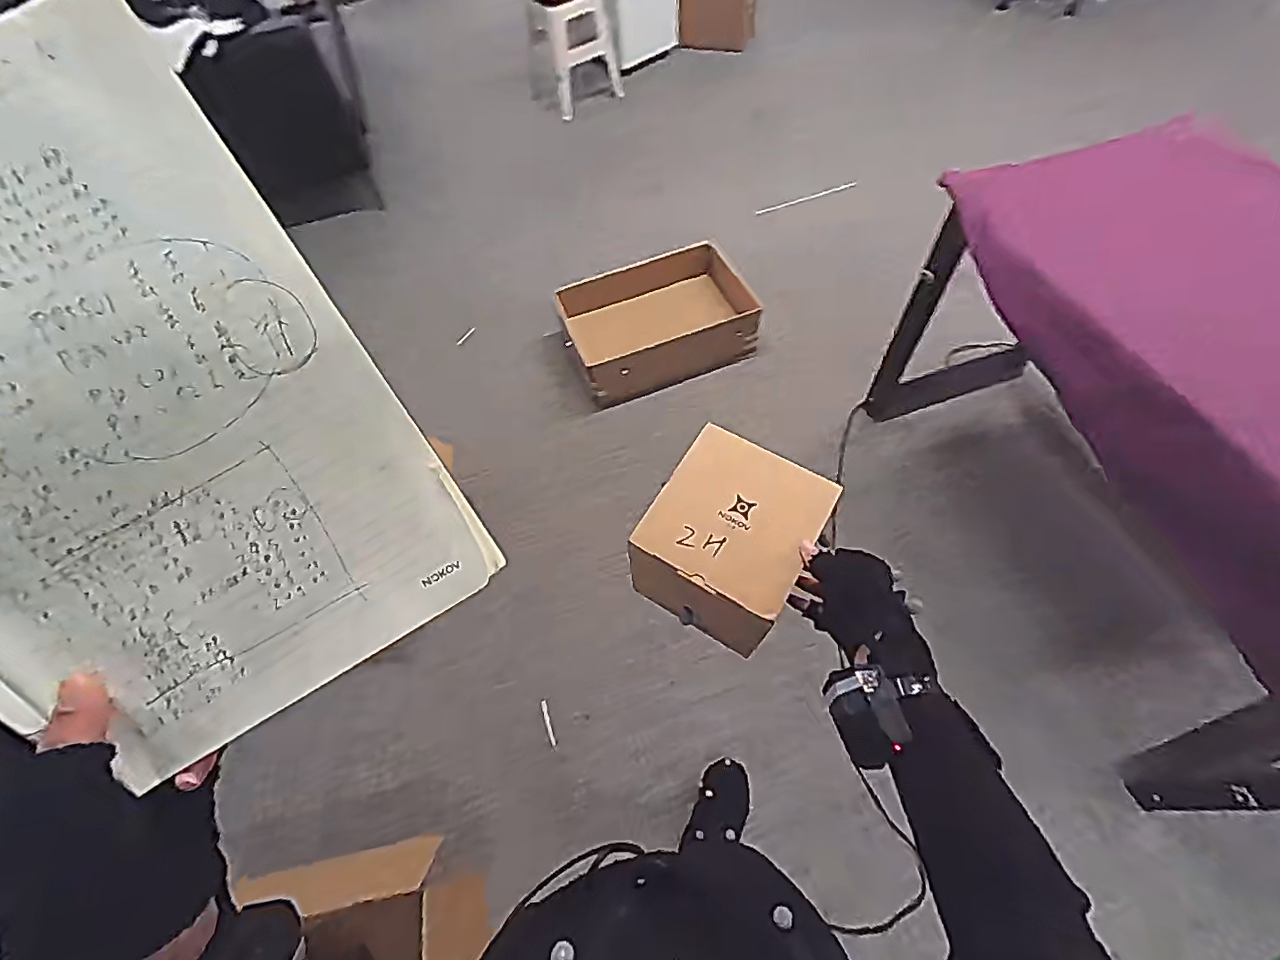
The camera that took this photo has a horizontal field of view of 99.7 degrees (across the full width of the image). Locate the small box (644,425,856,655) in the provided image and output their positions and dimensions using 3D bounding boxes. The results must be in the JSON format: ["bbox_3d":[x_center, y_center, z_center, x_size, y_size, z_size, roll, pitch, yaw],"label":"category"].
[{"bbox_3d":[0.117,0.075,0.628,0.168,0.176,0.179,29,67,16],"label":"small box"}]
